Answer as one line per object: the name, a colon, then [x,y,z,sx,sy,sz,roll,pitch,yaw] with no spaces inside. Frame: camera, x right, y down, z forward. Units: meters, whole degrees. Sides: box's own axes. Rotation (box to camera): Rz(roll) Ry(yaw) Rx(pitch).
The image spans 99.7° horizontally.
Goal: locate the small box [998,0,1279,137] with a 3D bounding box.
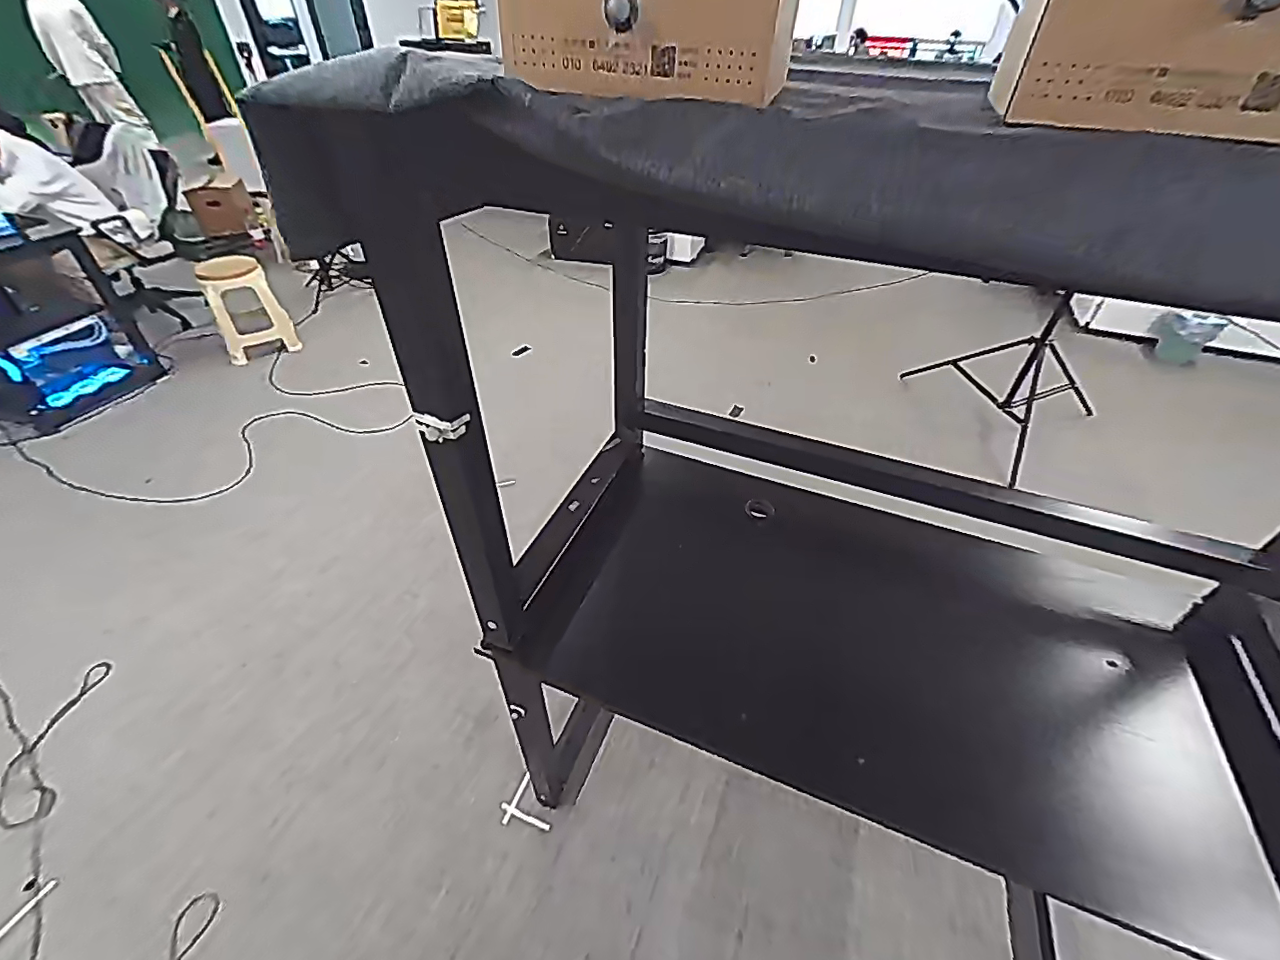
small box: [0.310,-0.289,0.278,0.168,0.176,0.179,17,41,18]
